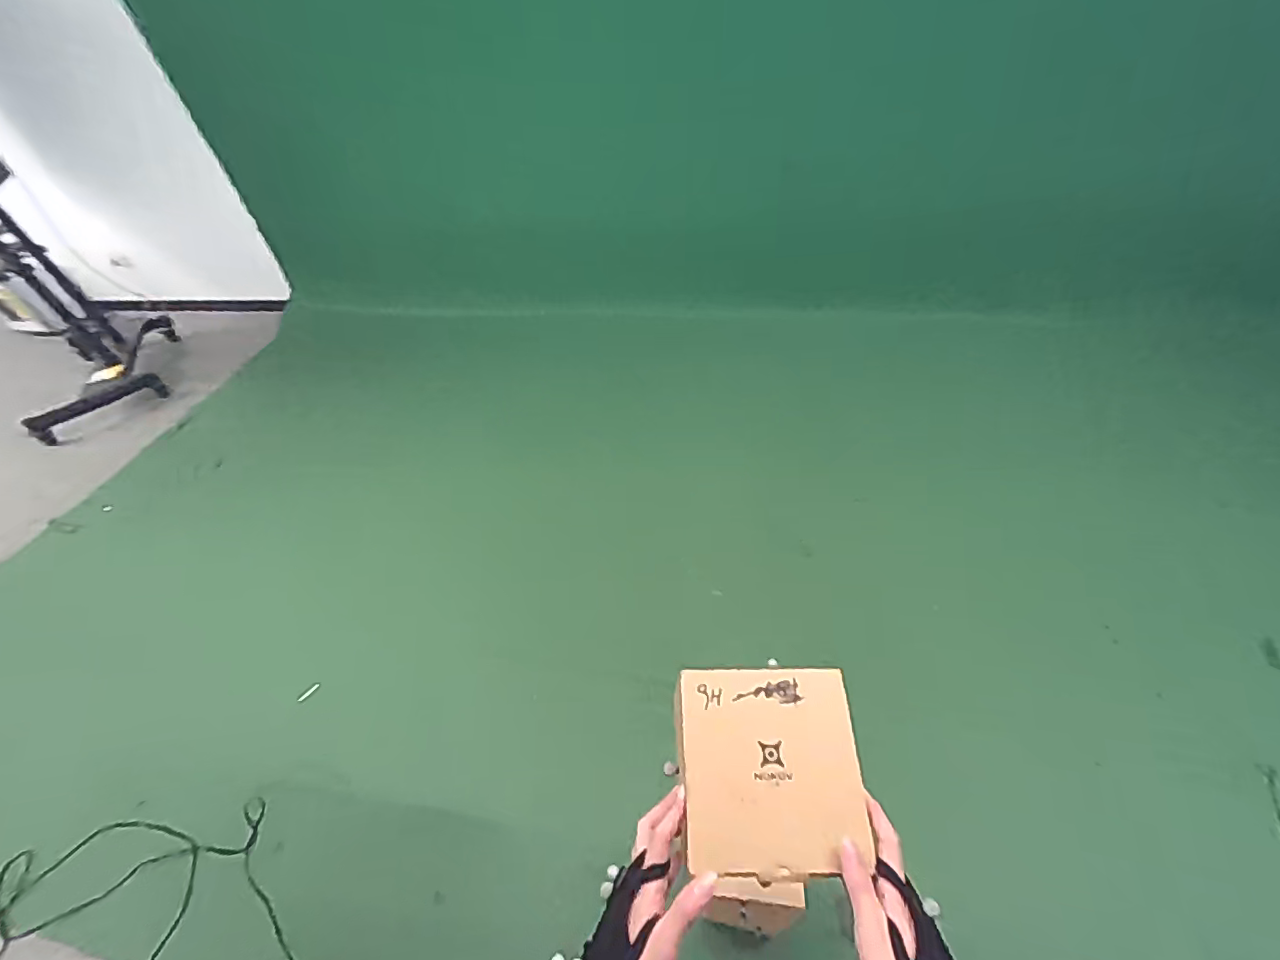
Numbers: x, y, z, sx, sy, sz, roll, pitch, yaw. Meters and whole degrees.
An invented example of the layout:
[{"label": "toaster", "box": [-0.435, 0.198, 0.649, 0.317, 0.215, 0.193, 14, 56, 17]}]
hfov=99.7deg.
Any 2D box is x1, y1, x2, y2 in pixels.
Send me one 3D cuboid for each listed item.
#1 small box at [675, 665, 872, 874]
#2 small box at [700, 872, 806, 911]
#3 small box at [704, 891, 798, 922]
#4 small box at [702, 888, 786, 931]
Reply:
[{"label": "small box", "box": [0.124, 0.303, 0.580, 0.168, 0.176, 0.179, -1, 61, 1]}, {"label": "small box", "box": [0.208, 0.686, 1.009, 0.179, 0.176, 0.168, 2, 48, 10]}, {"label": "small box", "box": [0.229, 0.799, 1.126, 0.179, 0.176, 0.168, 2, 47, 12]}, {"label": "small box", "box": [0.241, 0.912, 1.242, 0.179, 0.176, 0.168, 5, 48, 13]}]
